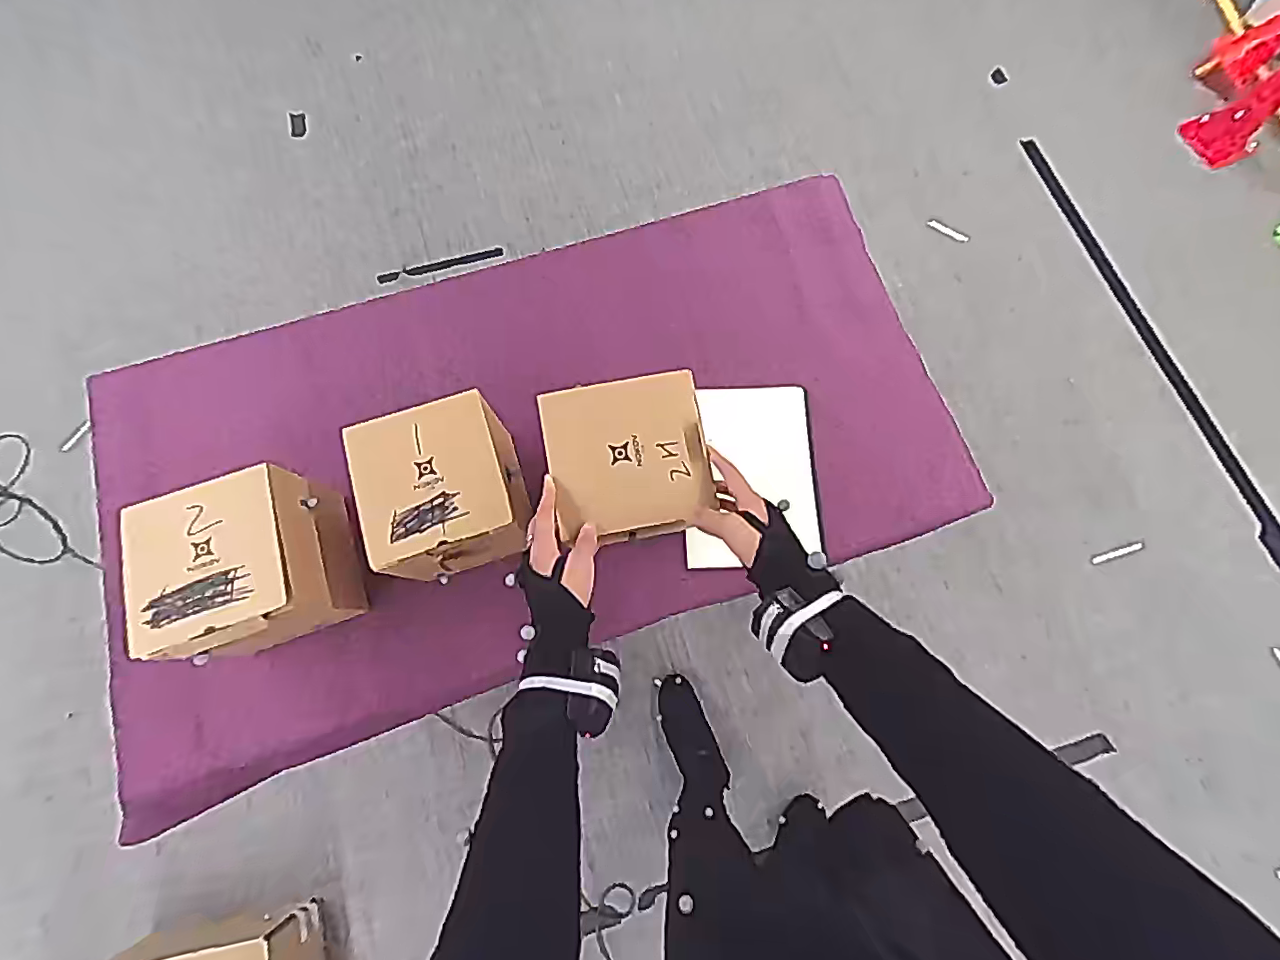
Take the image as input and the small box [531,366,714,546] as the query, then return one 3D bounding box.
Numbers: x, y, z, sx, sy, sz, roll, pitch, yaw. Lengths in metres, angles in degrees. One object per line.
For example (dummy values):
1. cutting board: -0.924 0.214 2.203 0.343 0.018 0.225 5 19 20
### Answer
1. small box: -0.022 -0.018 0.659 0.179 0.176 0.168 -11 80 -4
